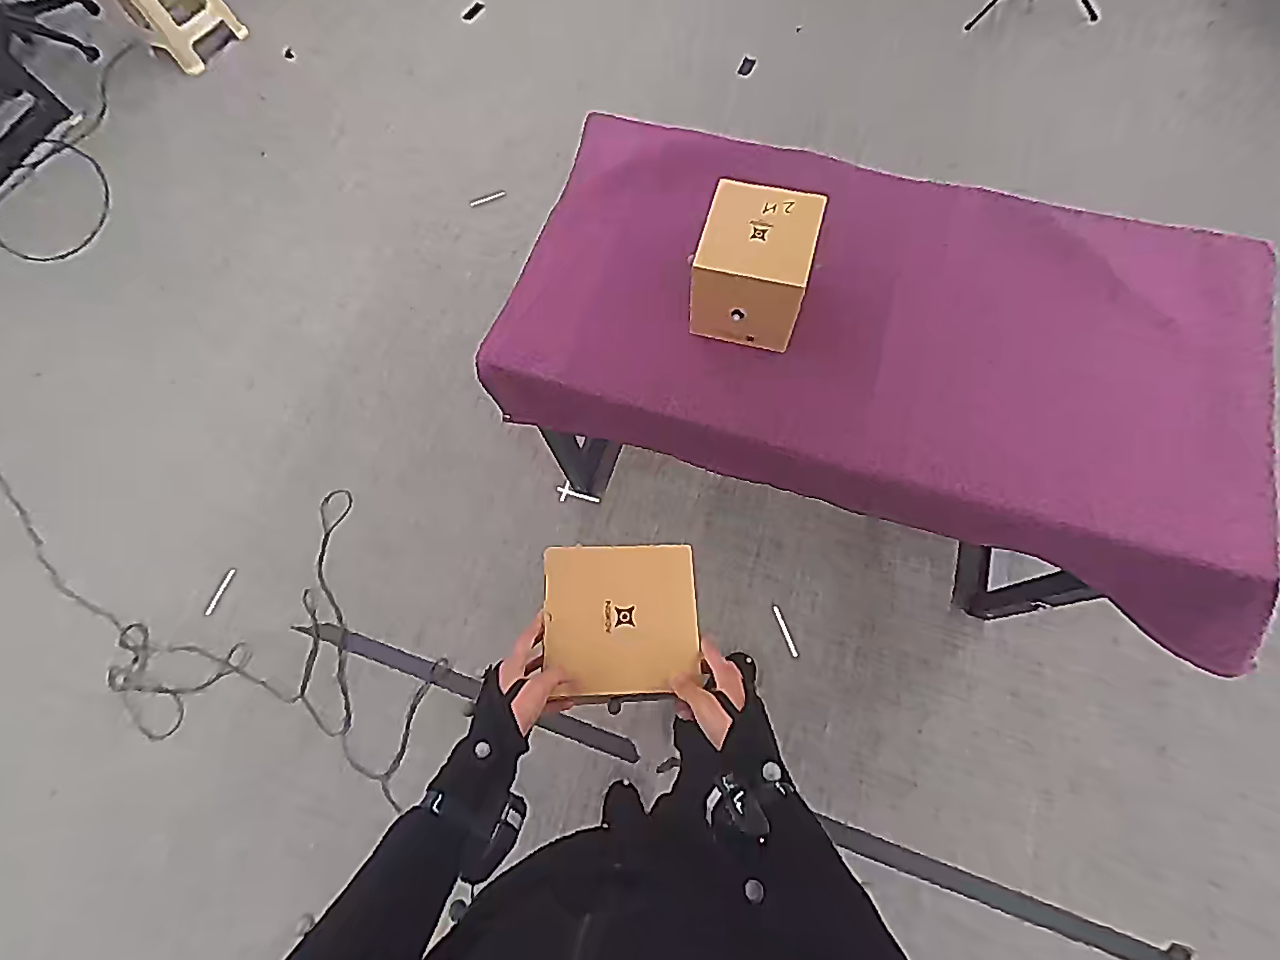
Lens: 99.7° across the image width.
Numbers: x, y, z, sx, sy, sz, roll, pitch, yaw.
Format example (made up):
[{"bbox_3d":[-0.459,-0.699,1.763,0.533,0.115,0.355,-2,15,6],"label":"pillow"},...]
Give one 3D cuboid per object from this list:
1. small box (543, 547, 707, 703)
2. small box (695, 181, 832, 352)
[{"bbox_3d":[-0.022,0.184,0.670,0.179,0.176,0.168,-1,66,-4],"label":"small box"},{"bbox_3d":[0.188,-0.331,0.861,0.168,0.176,0.179,15,72,9],"label":"small box"}]
